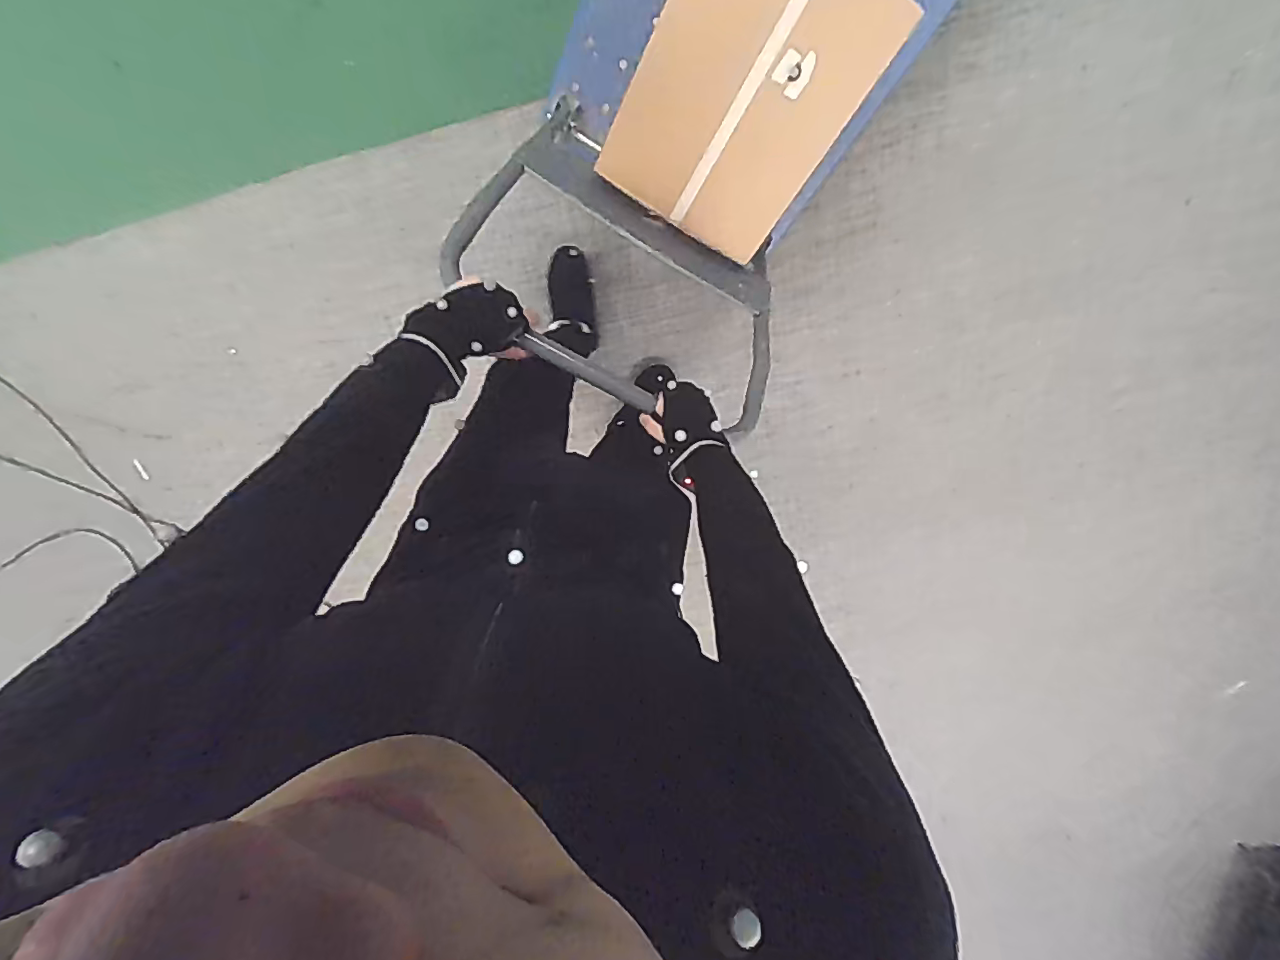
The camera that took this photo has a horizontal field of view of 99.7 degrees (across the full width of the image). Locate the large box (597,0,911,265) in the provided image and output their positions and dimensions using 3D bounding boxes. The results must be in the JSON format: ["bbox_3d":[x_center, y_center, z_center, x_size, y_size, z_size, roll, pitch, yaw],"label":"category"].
[{"bbox_3d":[0.167,-0.674,0.937,0.320,0.320,0.408,26,130,-15],"label":"large box"}]
